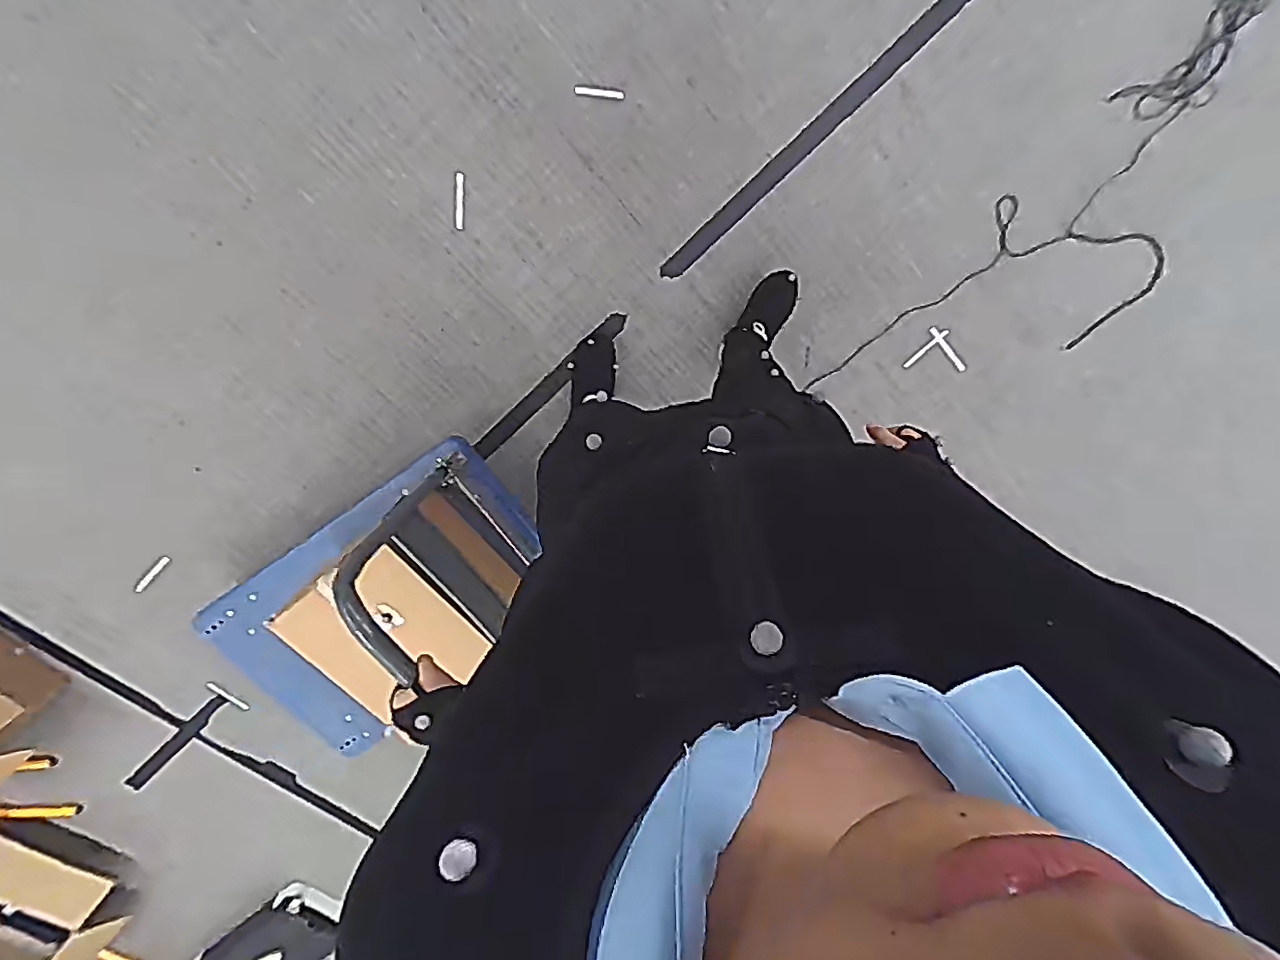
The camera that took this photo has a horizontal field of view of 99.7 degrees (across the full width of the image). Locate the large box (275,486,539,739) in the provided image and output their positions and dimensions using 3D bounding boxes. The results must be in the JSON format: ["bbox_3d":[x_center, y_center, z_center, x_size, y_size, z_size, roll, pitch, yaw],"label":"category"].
[{"bbox_3d":[-0.493,0.290,1.246,0.320,0.320,0.408,-37,106,8],"label":"large box"}]
